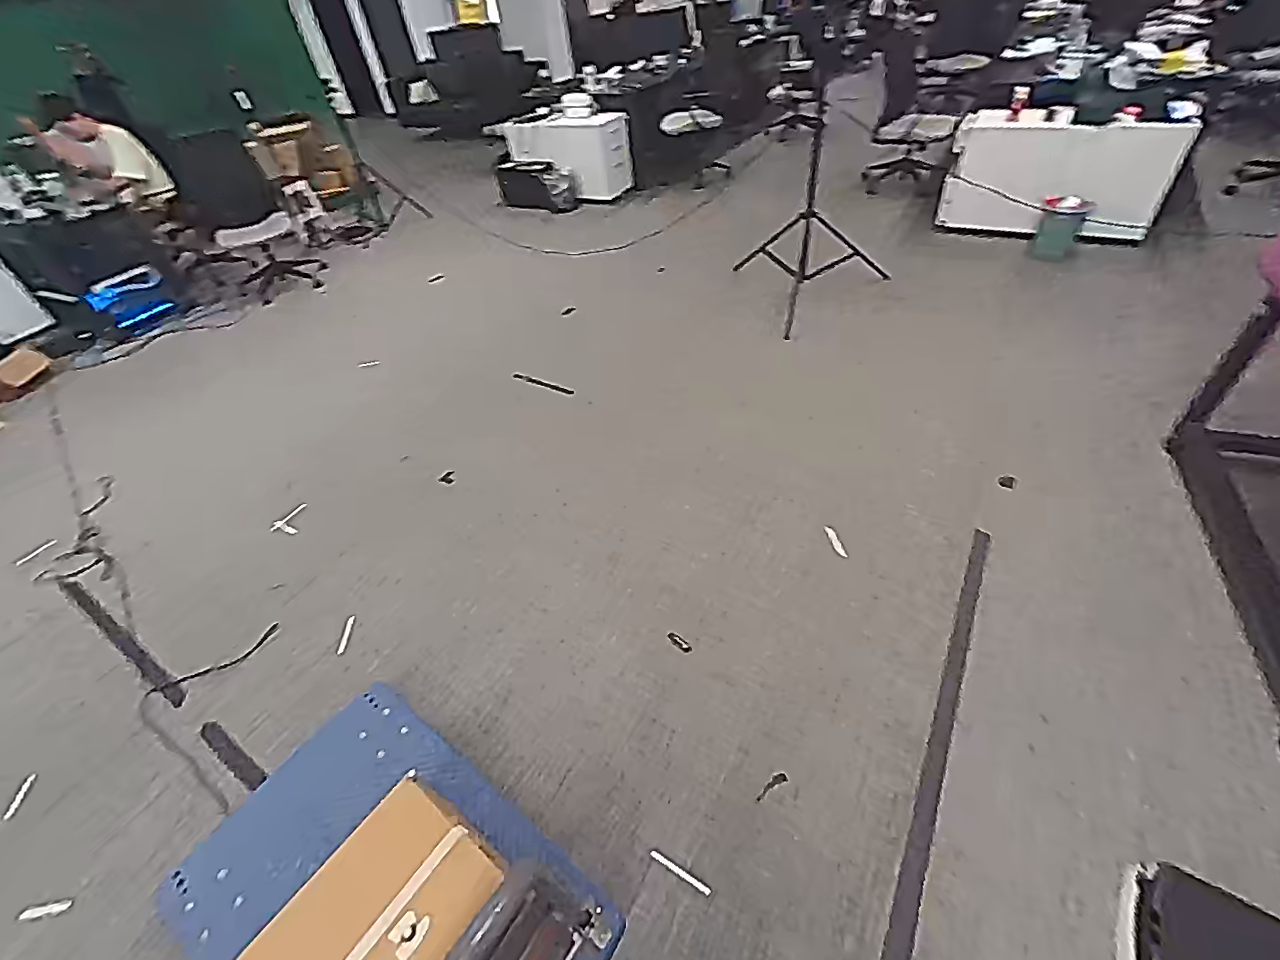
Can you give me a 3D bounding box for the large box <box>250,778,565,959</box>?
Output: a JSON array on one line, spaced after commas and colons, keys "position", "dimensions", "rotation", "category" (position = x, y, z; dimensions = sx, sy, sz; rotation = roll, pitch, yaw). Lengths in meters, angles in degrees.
[{"position": [-0.394, 0.827, 0.918], "dimensions": [0.320, 0.320, 0.408], "rotation": [24, 52, 29], "category": "large box"}]
